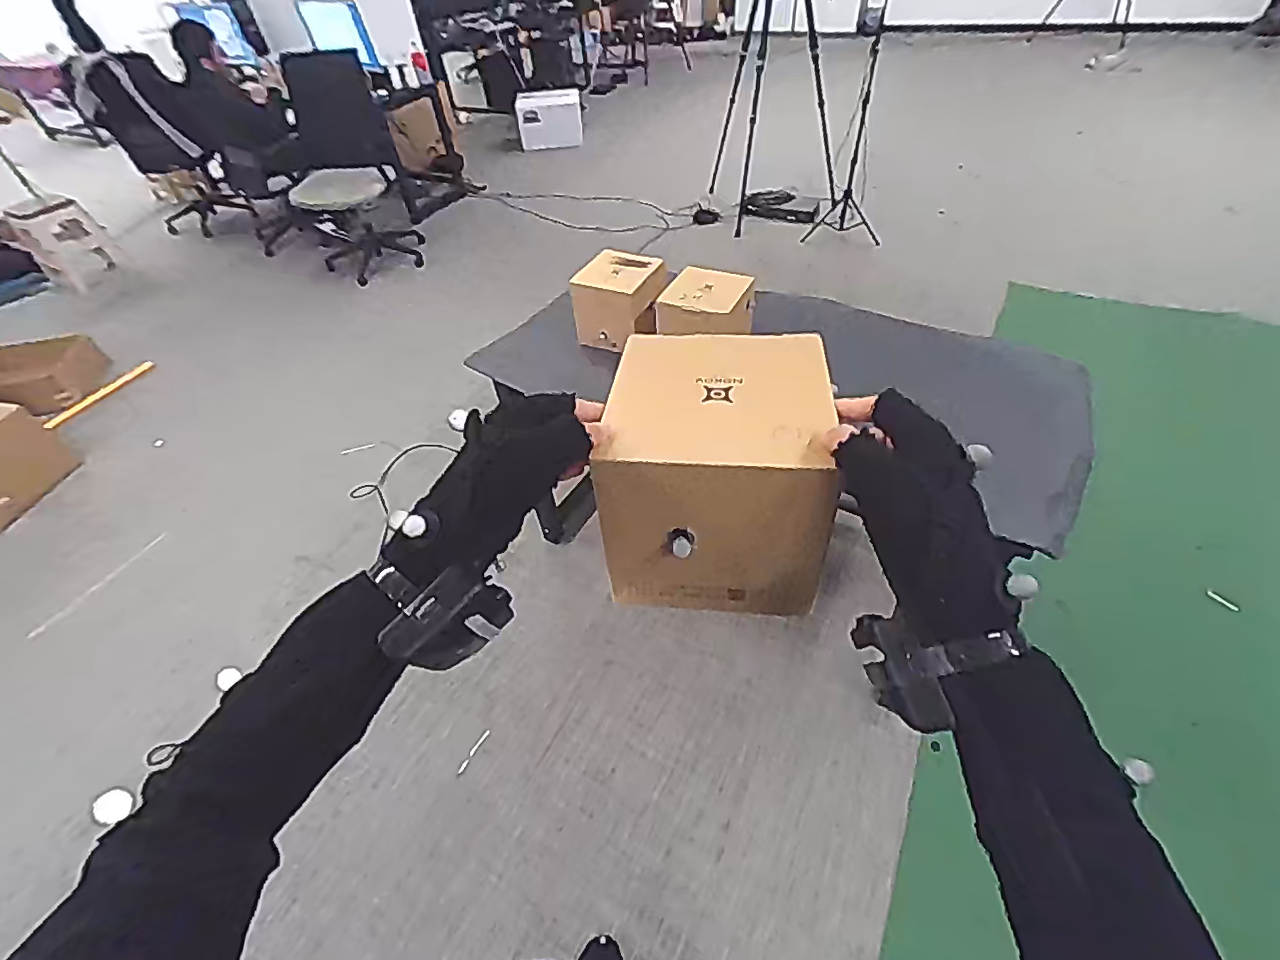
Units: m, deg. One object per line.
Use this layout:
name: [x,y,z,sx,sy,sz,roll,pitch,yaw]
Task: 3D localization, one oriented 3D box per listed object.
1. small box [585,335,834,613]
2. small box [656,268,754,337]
small box: [0.061,-0.006,0.461,0.168,0.176,0.179,3,42,9]
small box: [0.145,-0.353,1.228,0.168,0.176,0.179,18,51,21]
